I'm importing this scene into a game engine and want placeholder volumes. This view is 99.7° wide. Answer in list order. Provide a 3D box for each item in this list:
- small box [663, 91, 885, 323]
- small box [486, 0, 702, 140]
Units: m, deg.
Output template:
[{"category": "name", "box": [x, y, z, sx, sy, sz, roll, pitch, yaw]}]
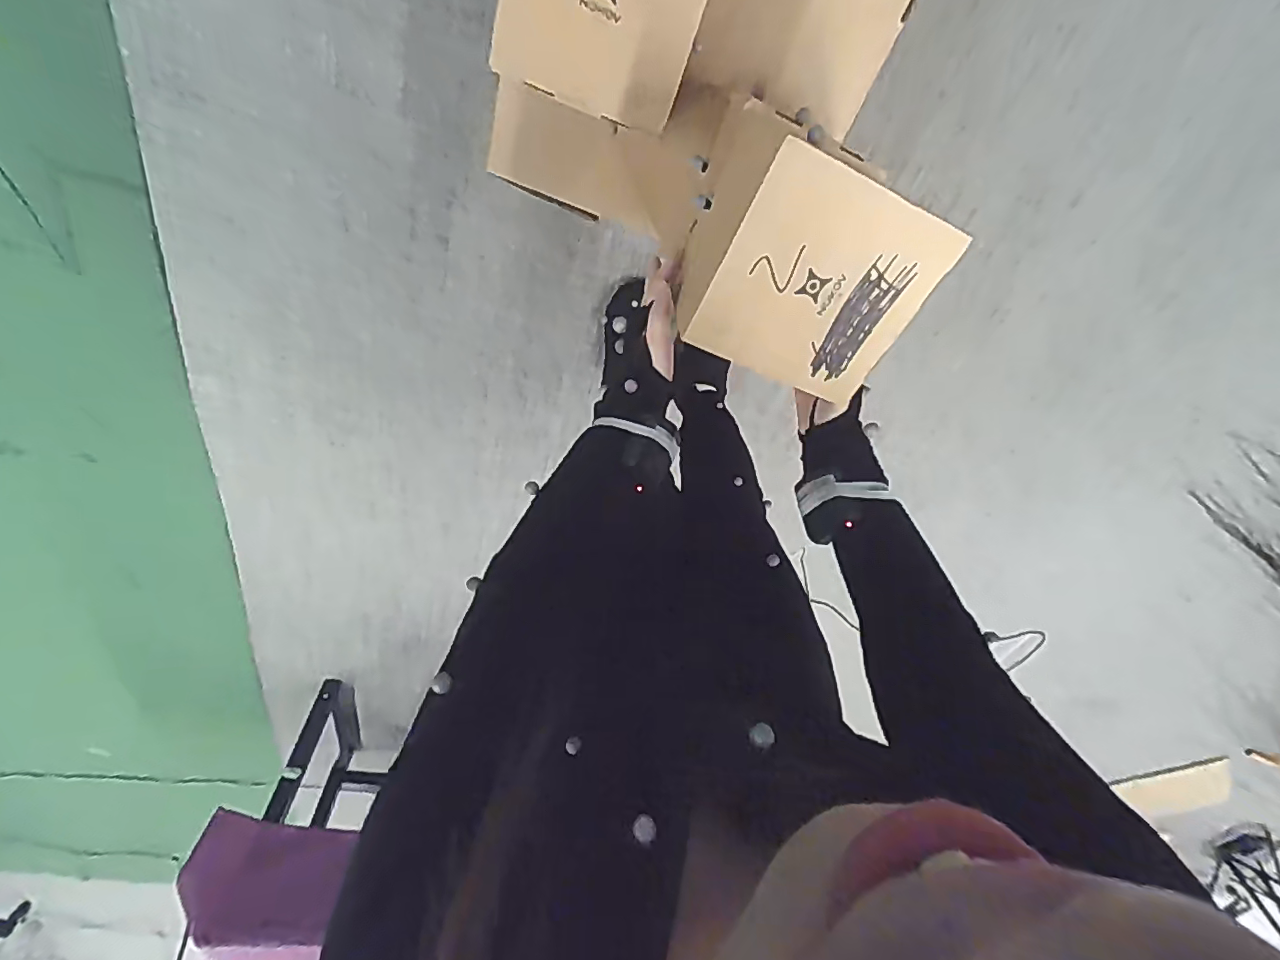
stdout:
[{"category": "small box", "box": [0.134, -0.317, 0.624, 0.168, 0.176, 0.179, 17, 124, -15]}, {"category": "small box", "box": [-0.033, -0.458, 0.513, 0.168, 0.176, 0.179, 16, 124, -14]}]
